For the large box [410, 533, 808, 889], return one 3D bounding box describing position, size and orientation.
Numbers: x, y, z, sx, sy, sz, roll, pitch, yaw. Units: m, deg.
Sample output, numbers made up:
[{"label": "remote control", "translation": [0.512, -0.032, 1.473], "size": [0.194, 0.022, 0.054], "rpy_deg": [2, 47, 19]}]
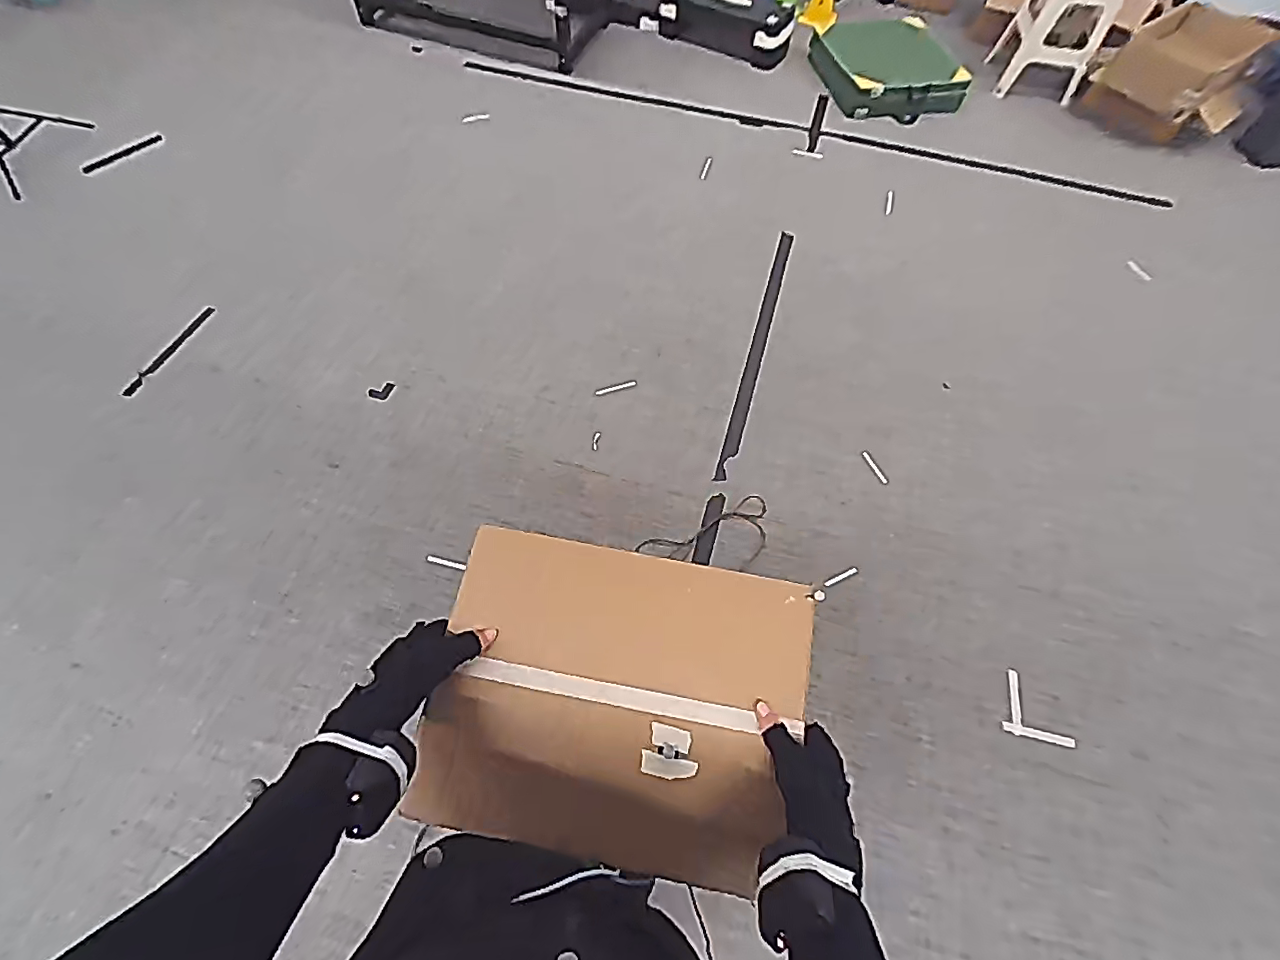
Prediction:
[{"label": "large box", "translation": [-0.022, 0.290, 0.742], "size": [0.408, 0.320, 0.320], "rpy_deg": [10, 70, 5]}]
